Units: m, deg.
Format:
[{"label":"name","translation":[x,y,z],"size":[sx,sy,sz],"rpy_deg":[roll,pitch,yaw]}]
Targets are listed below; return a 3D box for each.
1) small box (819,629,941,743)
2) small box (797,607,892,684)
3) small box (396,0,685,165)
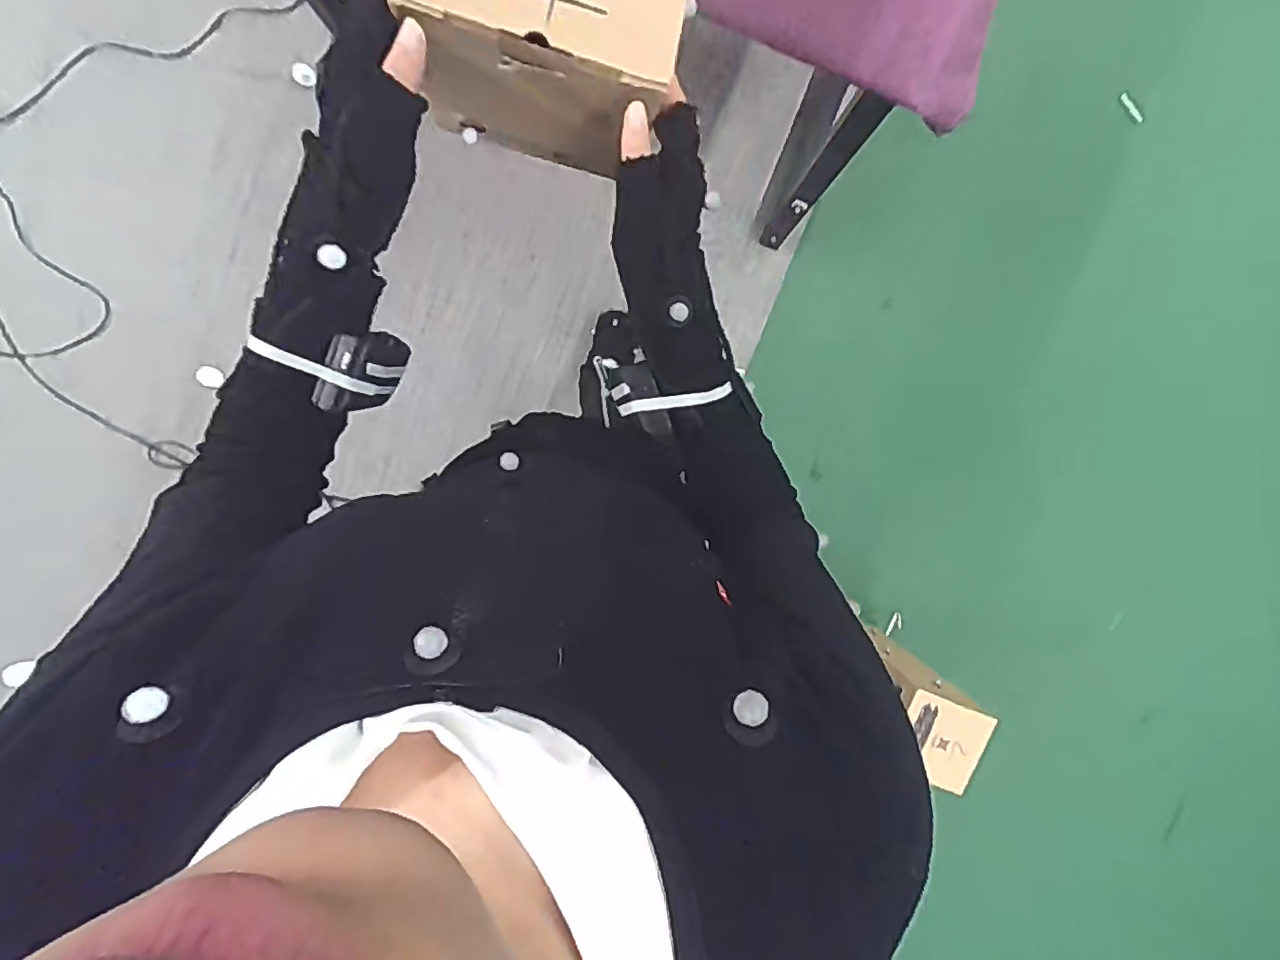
[{"label":"small box","translation":[0.556,0.476,1.276],"size":[0.179,0.176,0.168],"rpy_deg":[22,95,-3]},{"label":"small box","translation":[0.549,0.461,1.438],"size":[0.179,0.176,0.168],"rpy_deg":[24,94,-4]},{"label":"small box","translation":[-0.057,-0.356,0.379],"size":[0.168,0.176,0.179],"rpy_deg":[9,99,-13]}]
